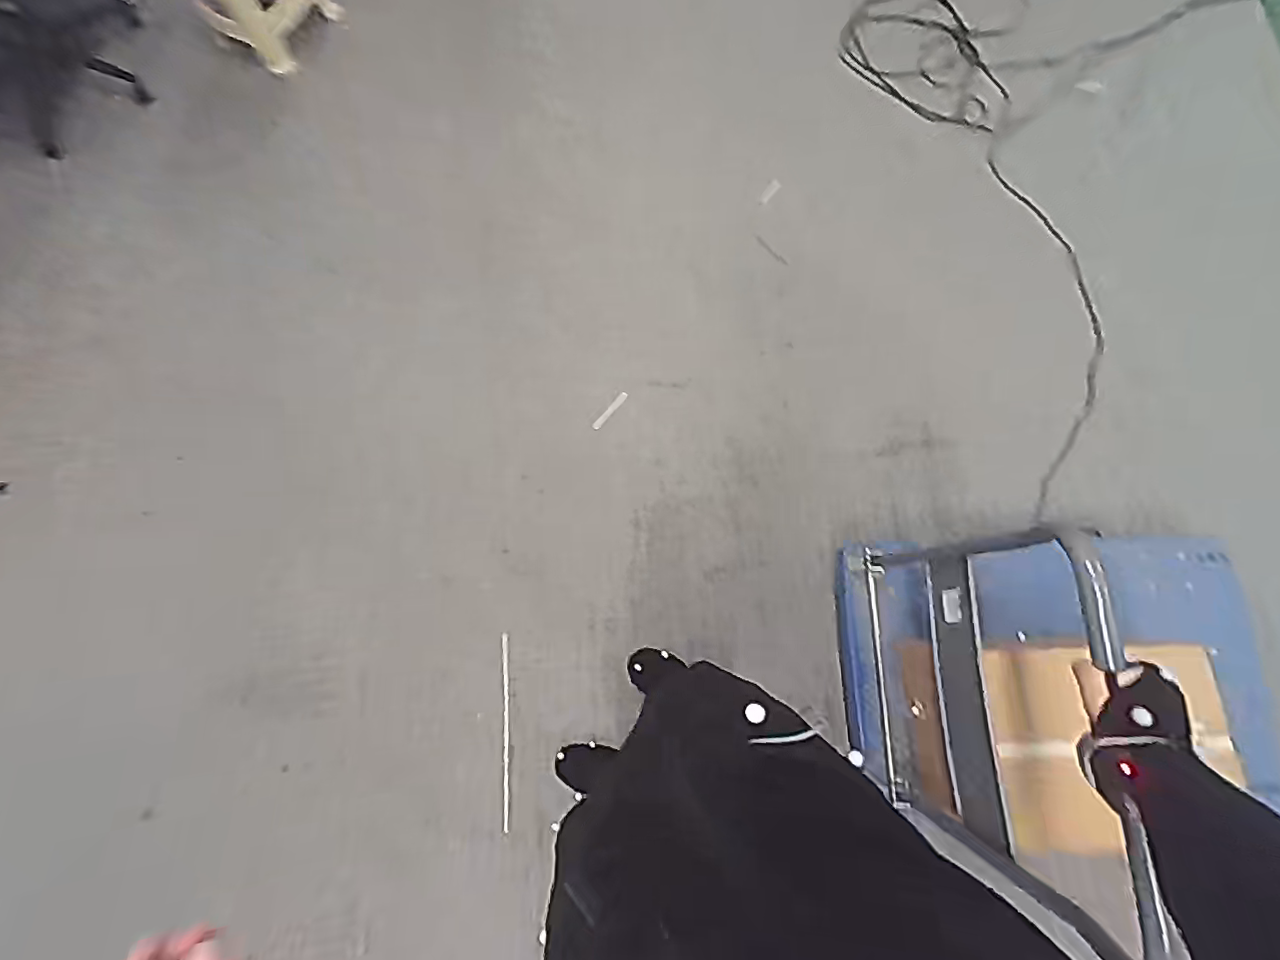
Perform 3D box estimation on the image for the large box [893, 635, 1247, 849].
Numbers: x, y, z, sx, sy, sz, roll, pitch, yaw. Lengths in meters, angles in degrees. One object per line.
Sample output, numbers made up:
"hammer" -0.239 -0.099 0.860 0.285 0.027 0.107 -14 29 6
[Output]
"large box" 0.774 0.473 1.050 0.408 0.320 0.320 -3 77 2
